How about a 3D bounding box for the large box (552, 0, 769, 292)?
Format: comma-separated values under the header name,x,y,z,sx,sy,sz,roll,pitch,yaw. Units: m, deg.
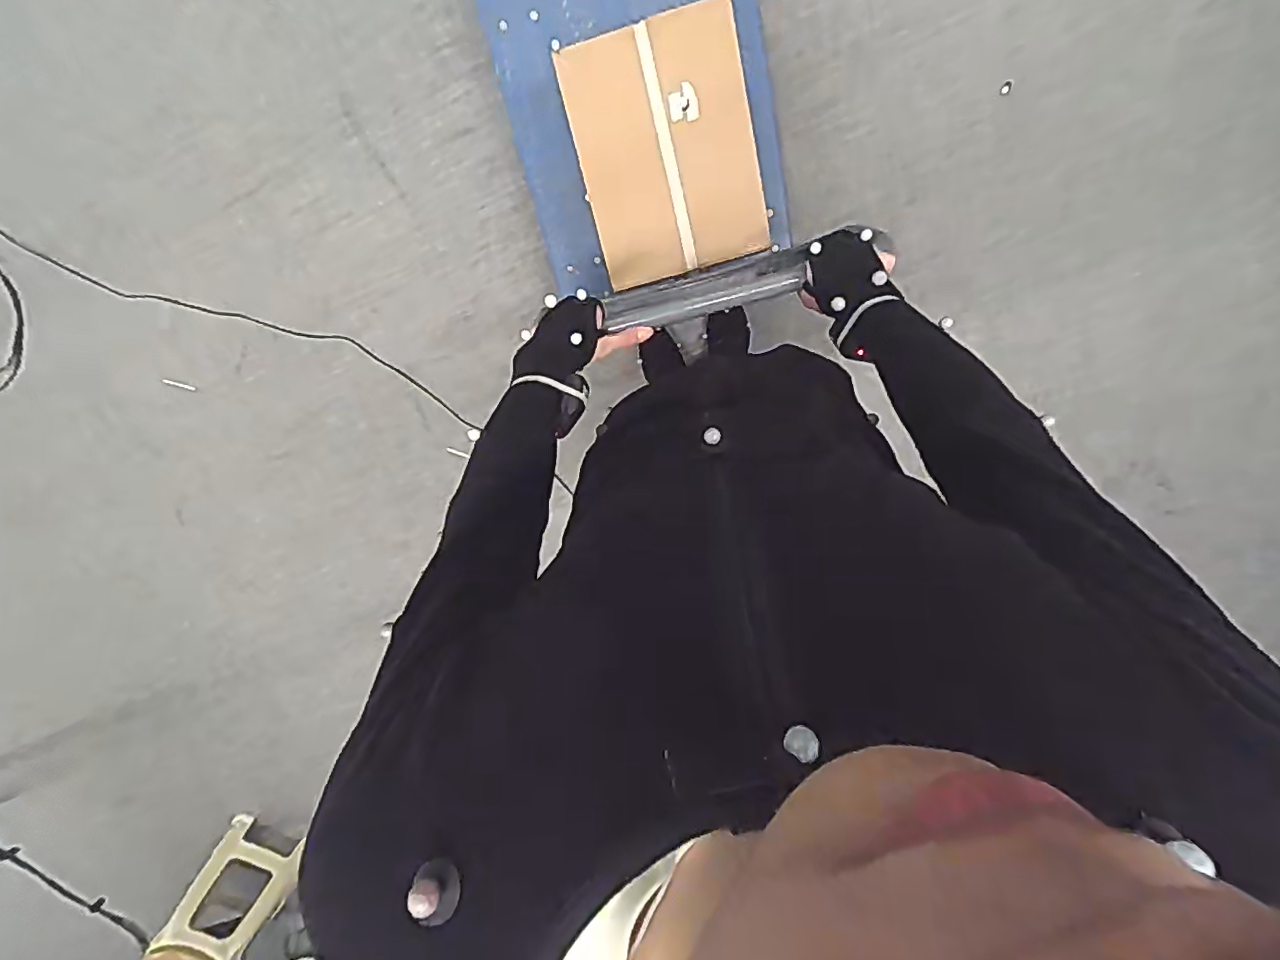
name,x,y,z,sx,sy,sz,roll,pitch,yaw
large box,0.051,-0.633,1.113,0.320,0.320,0.408,-14,108,5
